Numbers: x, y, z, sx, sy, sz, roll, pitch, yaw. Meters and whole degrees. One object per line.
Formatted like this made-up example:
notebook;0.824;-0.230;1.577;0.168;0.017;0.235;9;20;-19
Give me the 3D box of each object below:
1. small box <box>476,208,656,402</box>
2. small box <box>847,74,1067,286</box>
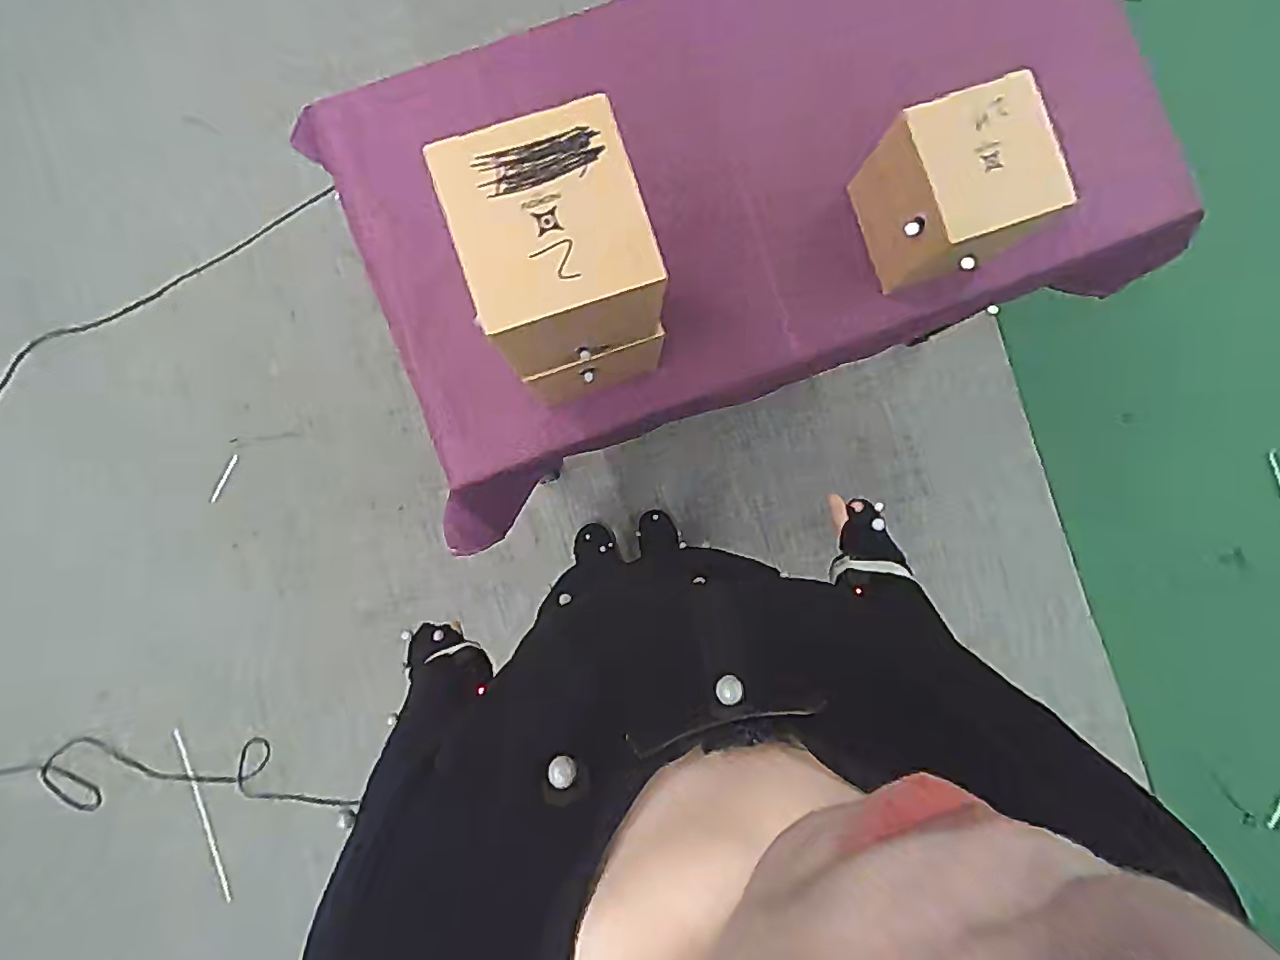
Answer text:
small box;-0.087;-0.215;0.711;0.179;0.176;0.168;-19;88;-3
small box;0.408;-0.382;0.728;0.168;0.176;0.179;-18;88;-2
